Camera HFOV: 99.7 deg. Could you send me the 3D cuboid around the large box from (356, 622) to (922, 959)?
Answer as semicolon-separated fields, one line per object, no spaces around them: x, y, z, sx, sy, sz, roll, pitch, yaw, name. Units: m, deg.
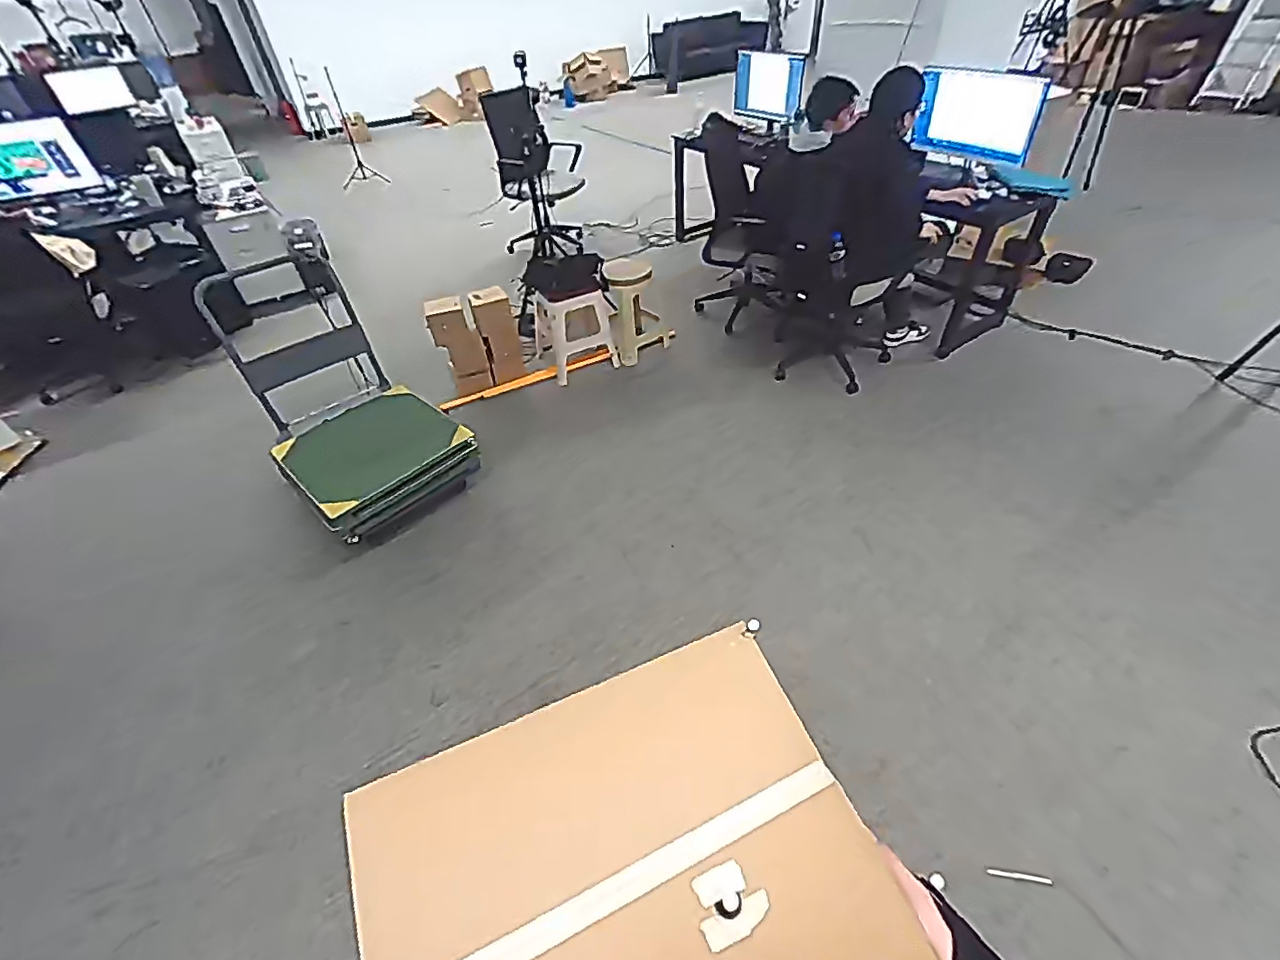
-0.020;0.418;0.576;0.408;0.320;0.320;-18;59;-18;large box
